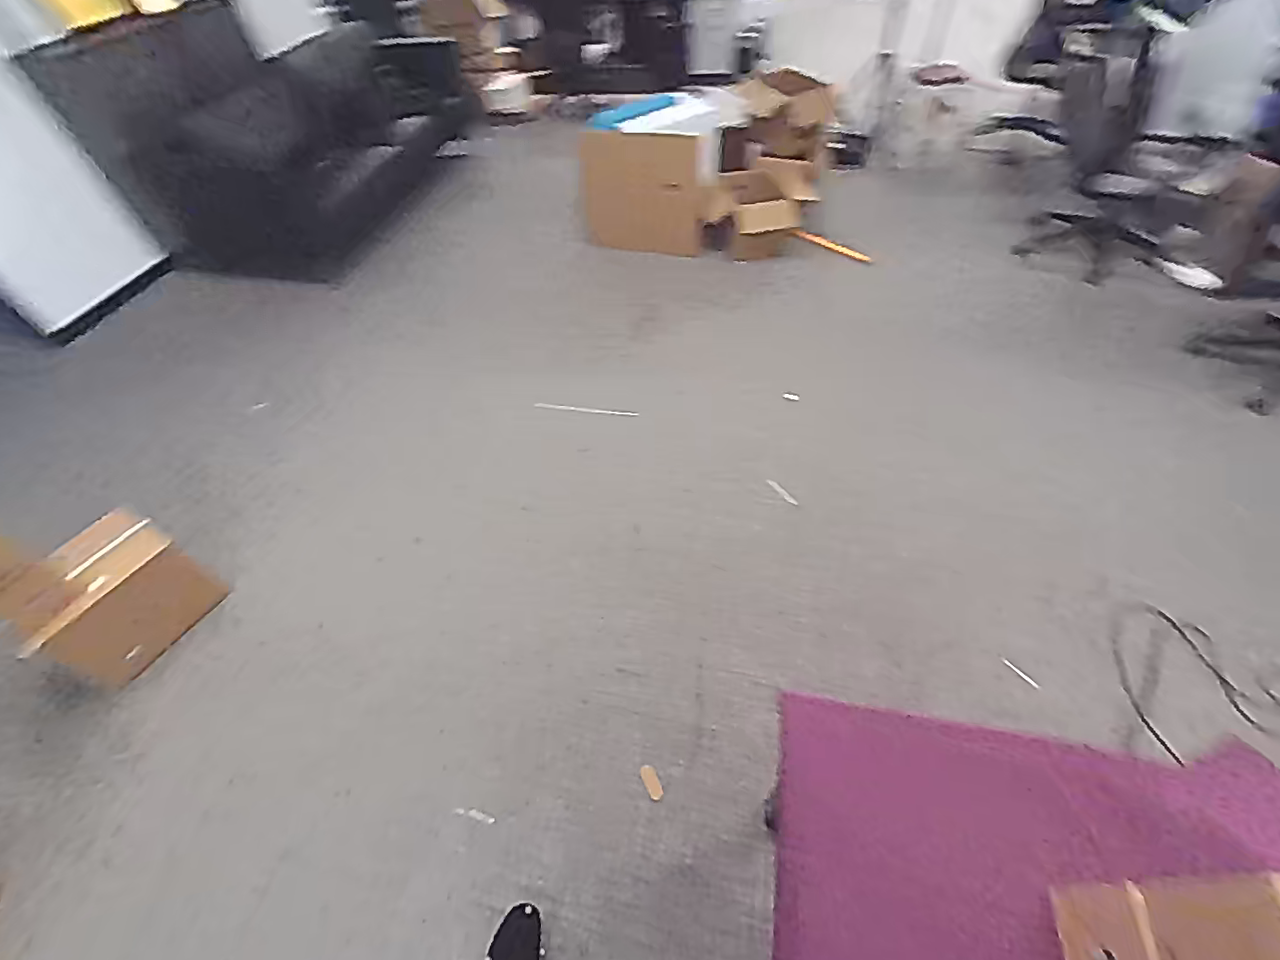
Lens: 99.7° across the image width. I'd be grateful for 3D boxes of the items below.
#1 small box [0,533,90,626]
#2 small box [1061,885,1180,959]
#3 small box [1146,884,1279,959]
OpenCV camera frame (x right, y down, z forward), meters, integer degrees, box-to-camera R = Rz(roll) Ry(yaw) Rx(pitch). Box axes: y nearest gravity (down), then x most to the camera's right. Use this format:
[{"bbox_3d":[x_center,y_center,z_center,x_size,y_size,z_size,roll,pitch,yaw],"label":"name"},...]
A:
[{"bbox_3d":[-1.708,0.280,1.496,0.179,0.176,0.168,17,53,17],"label":"small box"},{"bbox_3d":[0.567,0.533,0.542,0.179,0.176,0.168,7,51,10],"label":"small box"},{"bbox_3d":[0.557,0.434,0.411,0.179,0.176,0.168,9,52,13],"label":"small box"}]
